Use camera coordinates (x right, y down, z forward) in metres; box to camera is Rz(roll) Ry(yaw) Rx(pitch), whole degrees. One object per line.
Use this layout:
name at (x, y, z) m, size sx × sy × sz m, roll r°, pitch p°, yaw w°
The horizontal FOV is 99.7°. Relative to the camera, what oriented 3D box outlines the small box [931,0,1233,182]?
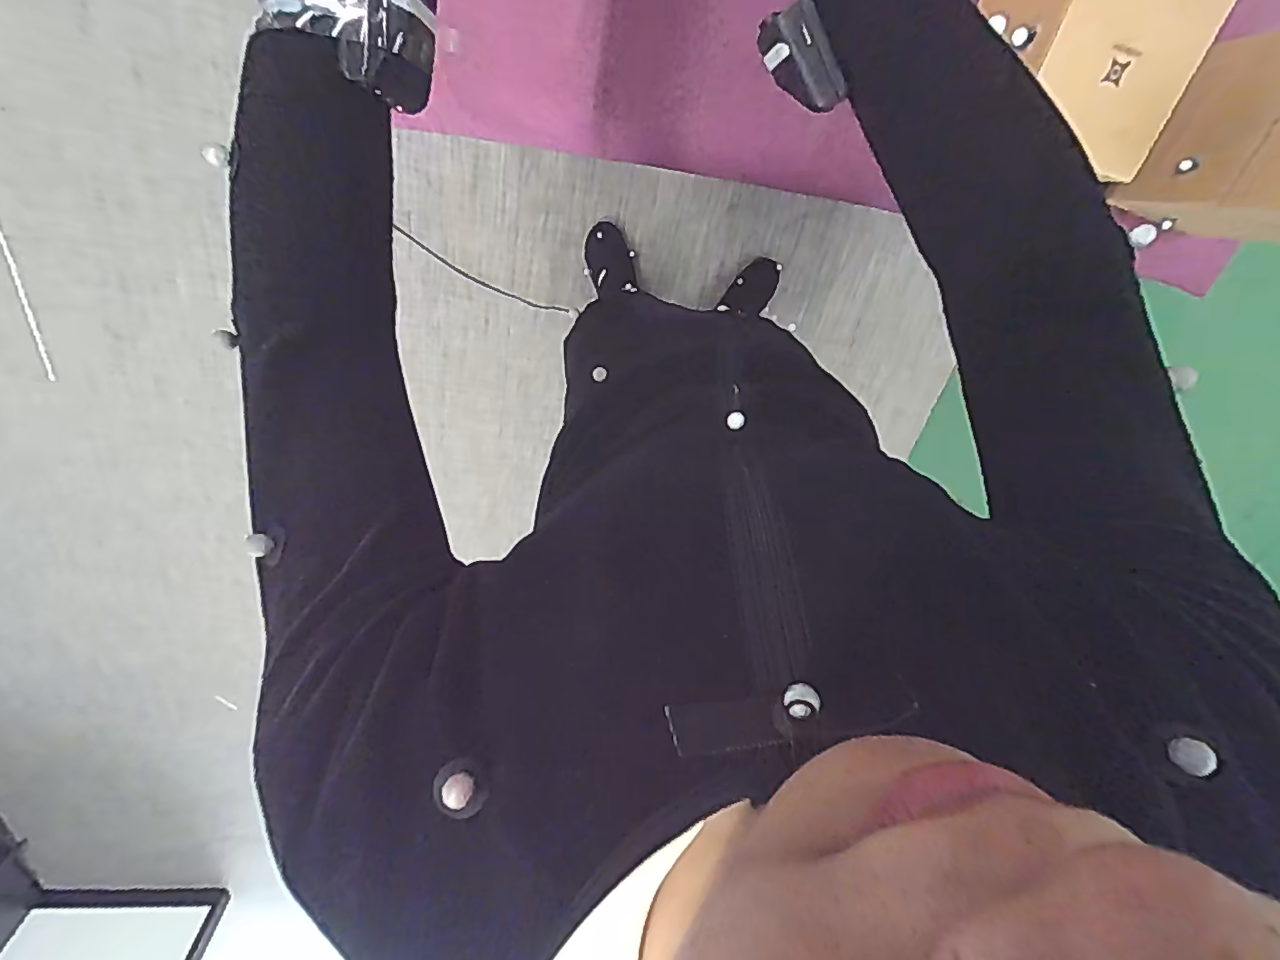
small box at (0.468, -0.451, 0.609) m, size 0.168 × 0.176 × 0.179 m, roll 9°, pitch 117°, yaw -10°
